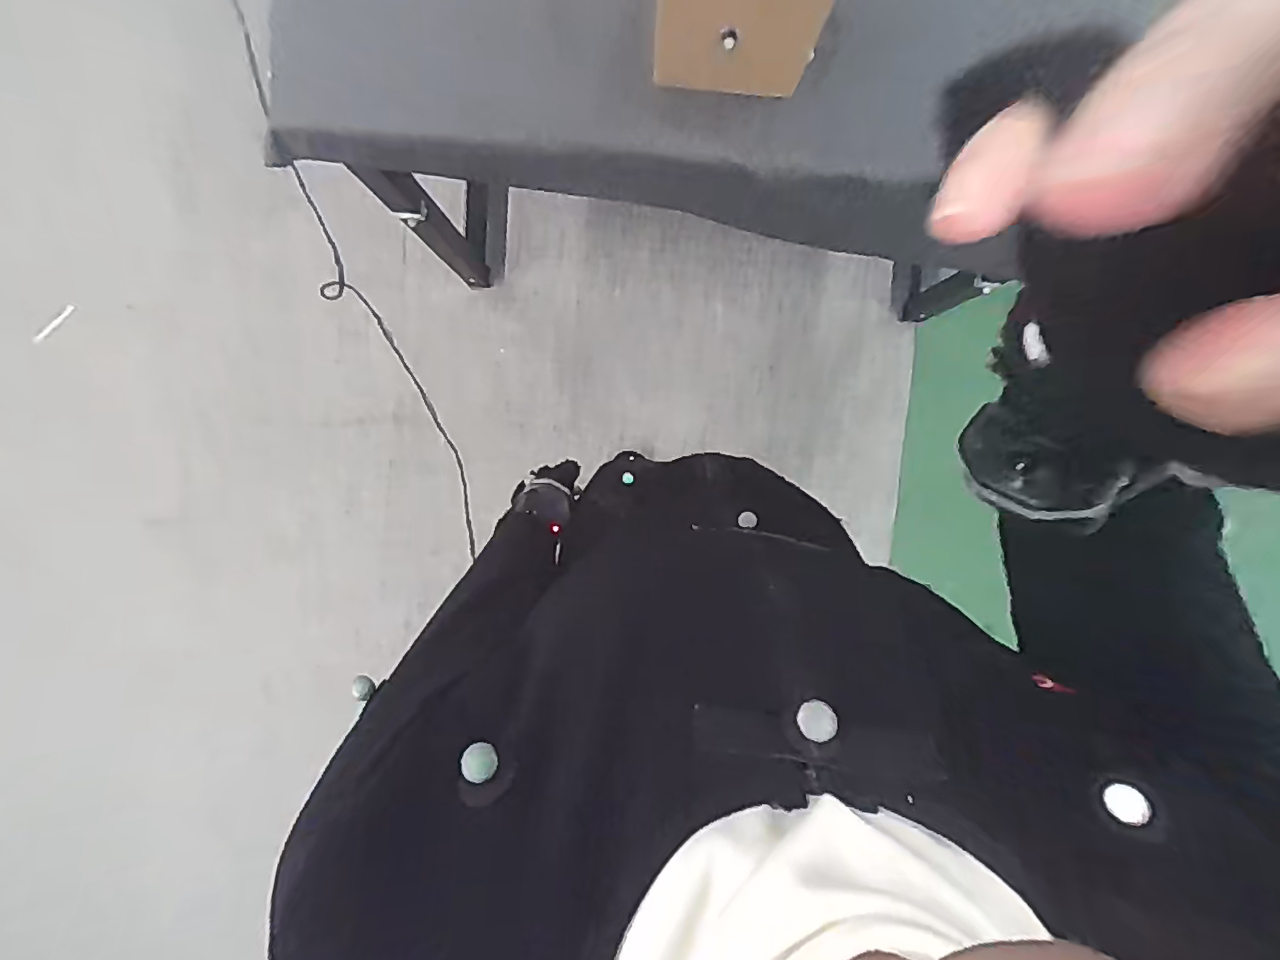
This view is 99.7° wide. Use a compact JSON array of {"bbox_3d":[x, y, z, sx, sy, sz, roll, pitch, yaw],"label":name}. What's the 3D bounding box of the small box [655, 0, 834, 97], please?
[{"bbox_3d":[0.112,-0.560,0.594,0.179,0.176,0.168,5,92,0],"label":"small box"}]
